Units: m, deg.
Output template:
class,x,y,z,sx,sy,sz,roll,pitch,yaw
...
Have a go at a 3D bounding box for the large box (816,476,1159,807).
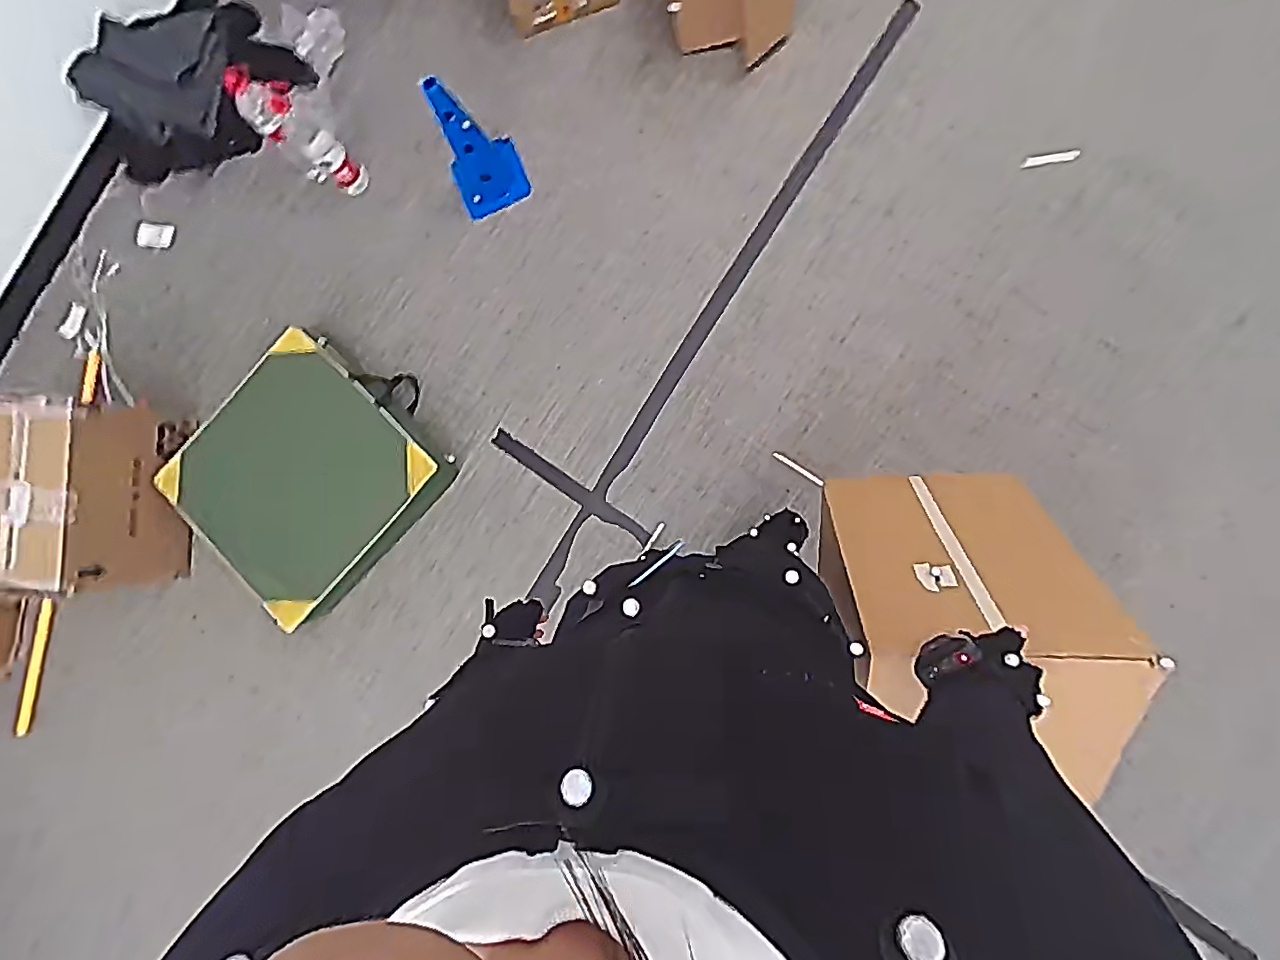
class,x,y,z,sx,sy,sz,roll,pitch,yaw
large box,0.472,0.229,0.865,0.320,0.408,0.320,-3,123,12
